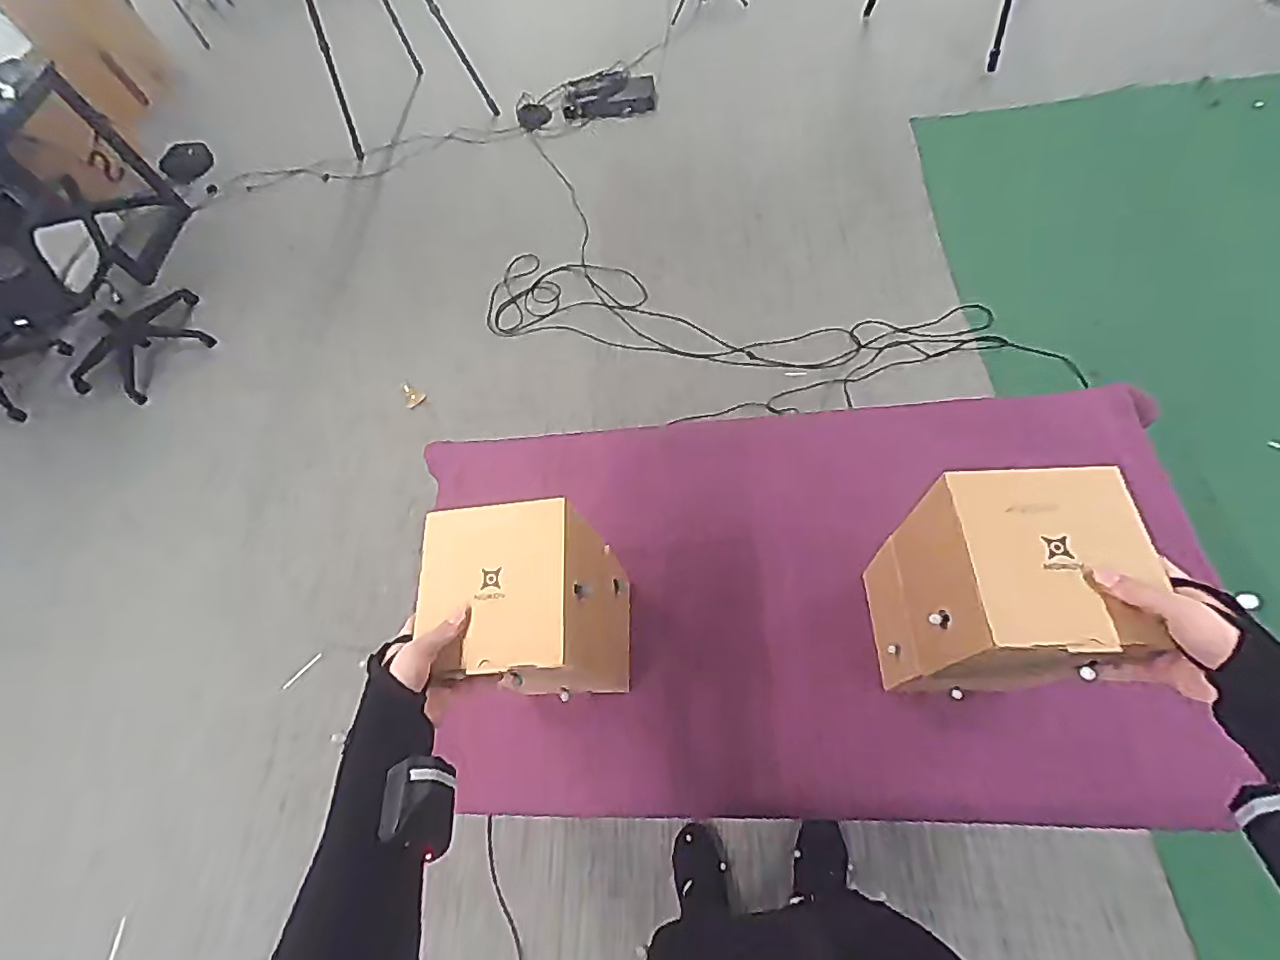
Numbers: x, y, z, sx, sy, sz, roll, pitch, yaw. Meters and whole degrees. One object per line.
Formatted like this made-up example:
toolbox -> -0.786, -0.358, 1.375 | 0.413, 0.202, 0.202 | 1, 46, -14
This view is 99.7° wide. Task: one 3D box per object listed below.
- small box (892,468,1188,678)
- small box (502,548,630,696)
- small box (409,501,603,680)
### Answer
small box -> 0.385, 0.104, 0.565 | 0.168, 0.176, 0.179 | -1, 61, 5
small box -> -0.111, 0.213, 0.795 | 0.168, 0.176, 0.179 | -4, 61, 9
small box -> -0.144, 0.139, 0.642 | 0.168, 0.176, 0.179 | -7, 68, 10
